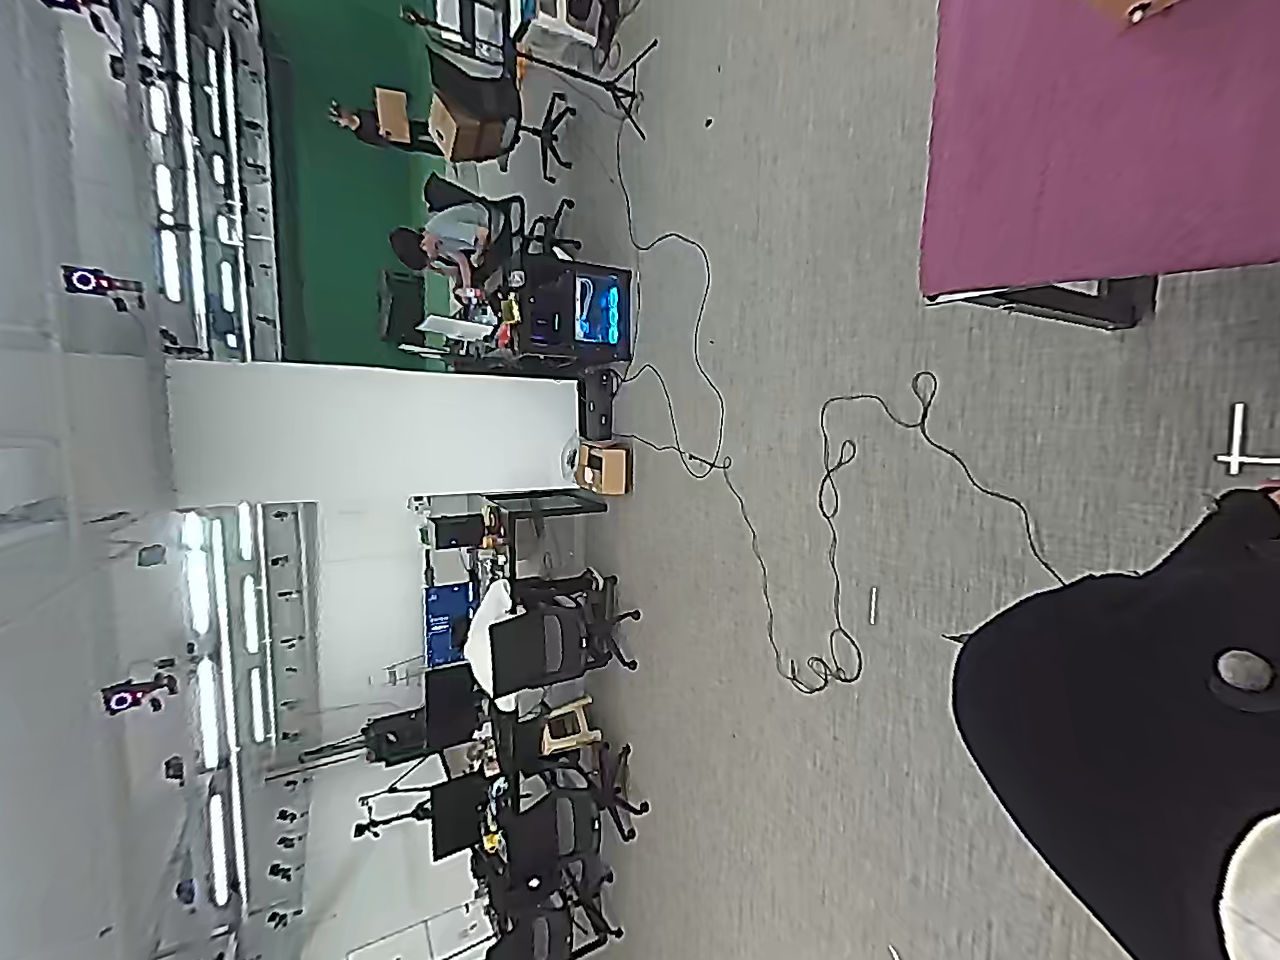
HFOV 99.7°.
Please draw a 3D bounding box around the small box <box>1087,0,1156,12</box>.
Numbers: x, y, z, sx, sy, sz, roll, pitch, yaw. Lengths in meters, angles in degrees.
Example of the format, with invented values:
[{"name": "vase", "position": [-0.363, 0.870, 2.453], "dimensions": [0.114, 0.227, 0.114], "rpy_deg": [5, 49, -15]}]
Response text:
[{"name": "small box", "position": [0.624, -0.696, 0.627], "dimensions": [0.168, 0.176, 0.179], "rpy_deg": [10, 102, 60]}]
